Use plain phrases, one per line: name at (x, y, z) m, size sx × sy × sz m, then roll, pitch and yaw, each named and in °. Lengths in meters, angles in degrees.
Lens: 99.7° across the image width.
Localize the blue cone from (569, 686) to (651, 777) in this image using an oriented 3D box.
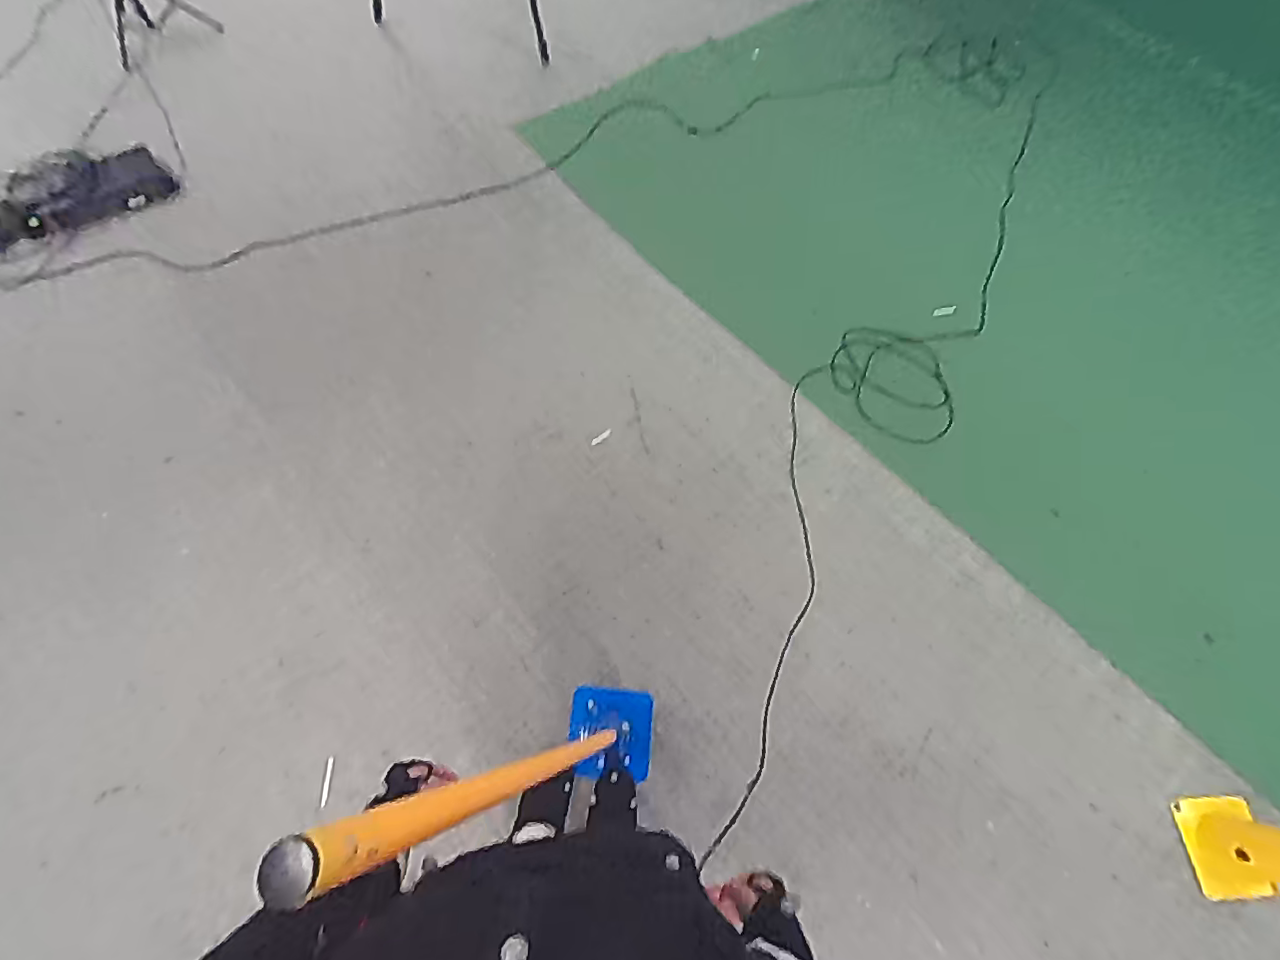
blue cone at (-0.064, 0.528, 1.133) m, size 0.193 × 0.380 × 0.192 m, roll 5°, pitch 66°, yaw 0°
